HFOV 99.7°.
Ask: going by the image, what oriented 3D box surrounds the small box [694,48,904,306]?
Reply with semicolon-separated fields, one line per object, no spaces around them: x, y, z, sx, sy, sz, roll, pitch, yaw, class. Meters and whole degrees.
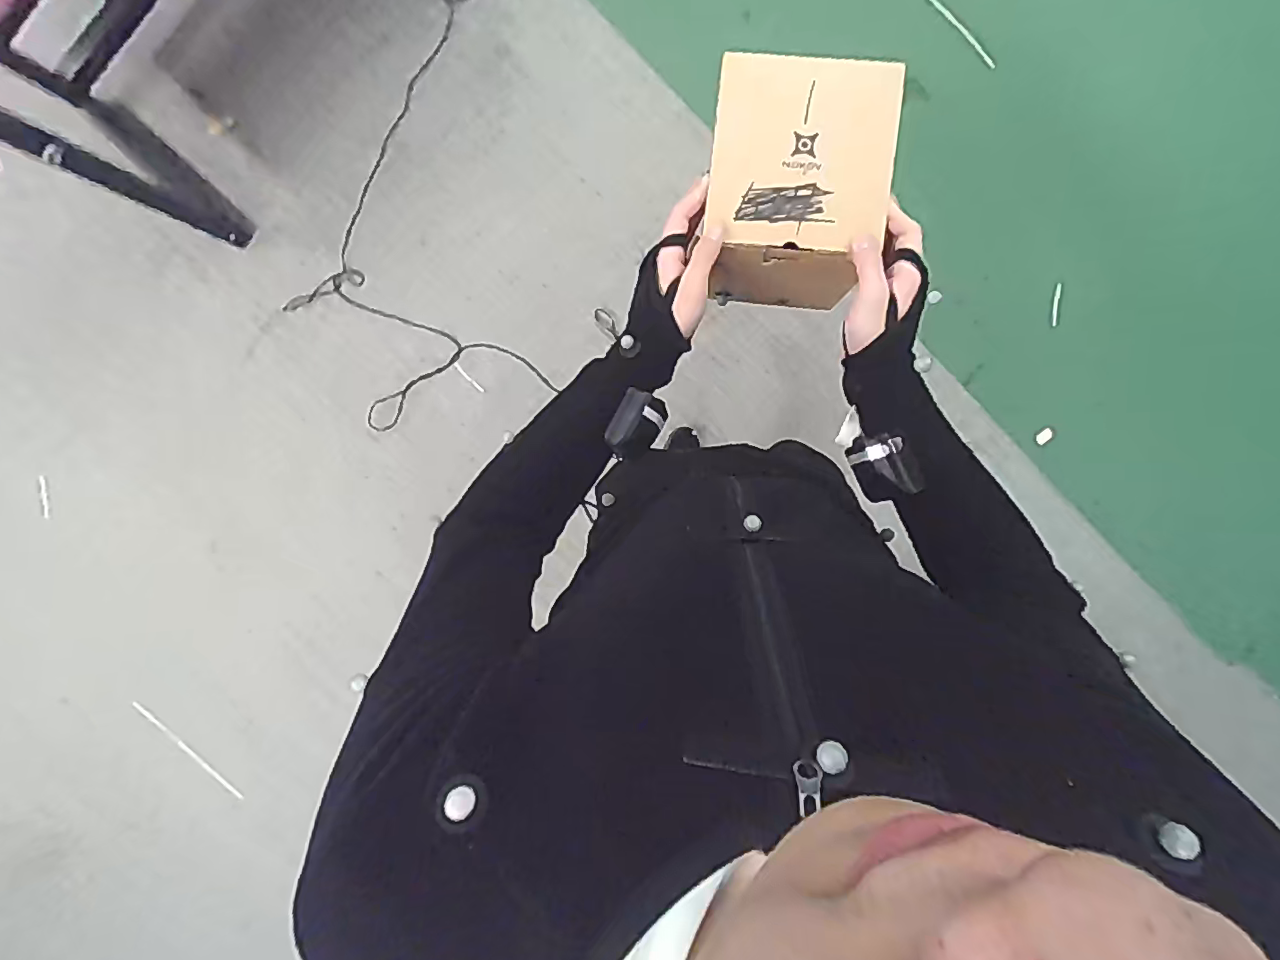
0.148;-0.295;0.564;0.168;0.176;0.179;7;91;3;small box
